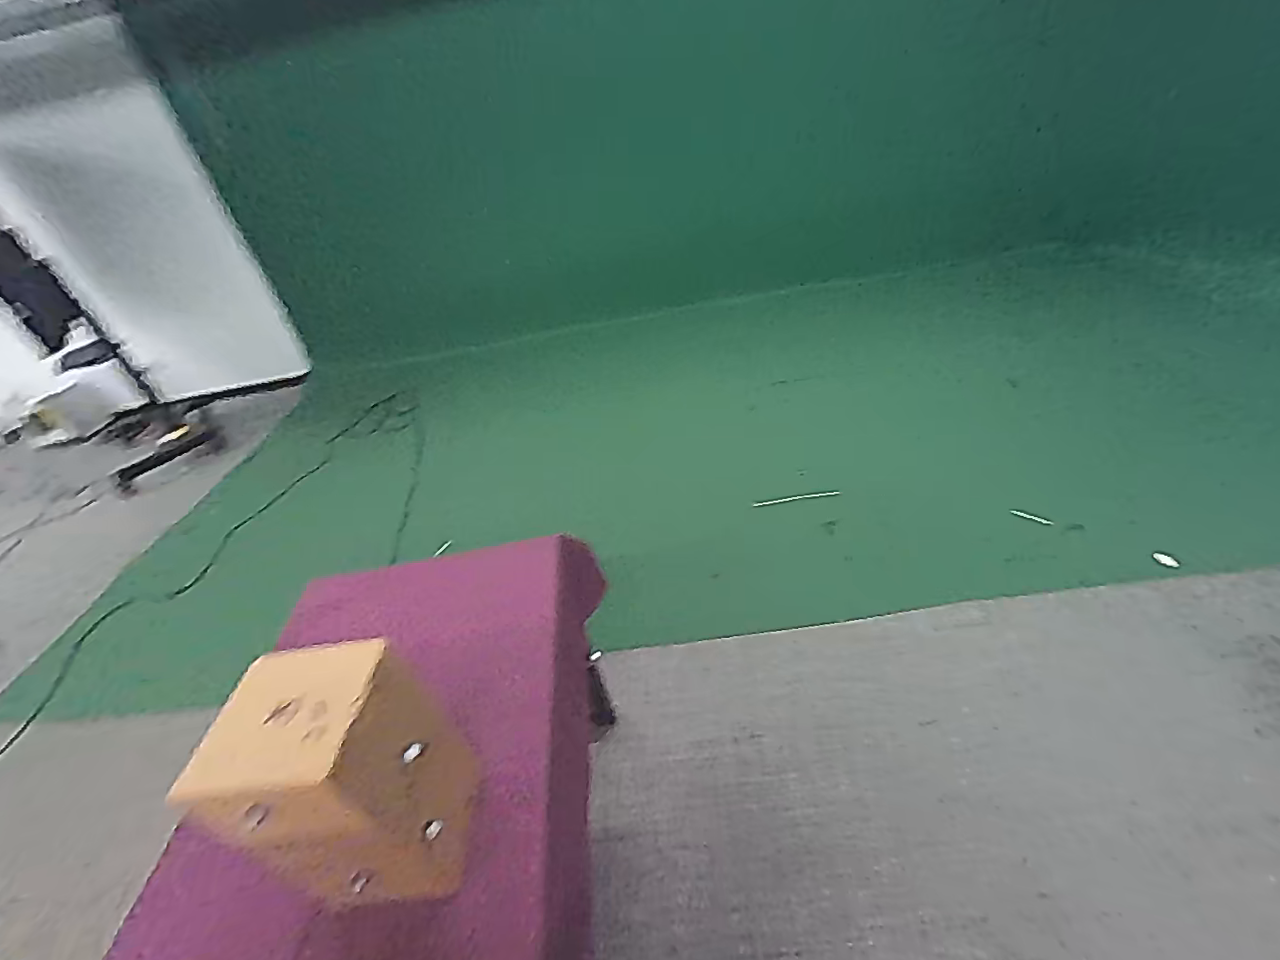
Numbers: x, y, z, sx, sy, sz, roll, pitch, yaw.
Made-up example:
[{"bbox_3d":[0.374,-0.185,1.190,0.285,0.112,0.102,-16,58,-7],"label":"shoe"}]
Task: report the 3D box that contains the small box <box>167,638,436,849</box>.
[{"bbox_3d":[-0.375,0.313,0.640,0.179,0.176,0.168,-8,37,6],"label":"small box"}]
